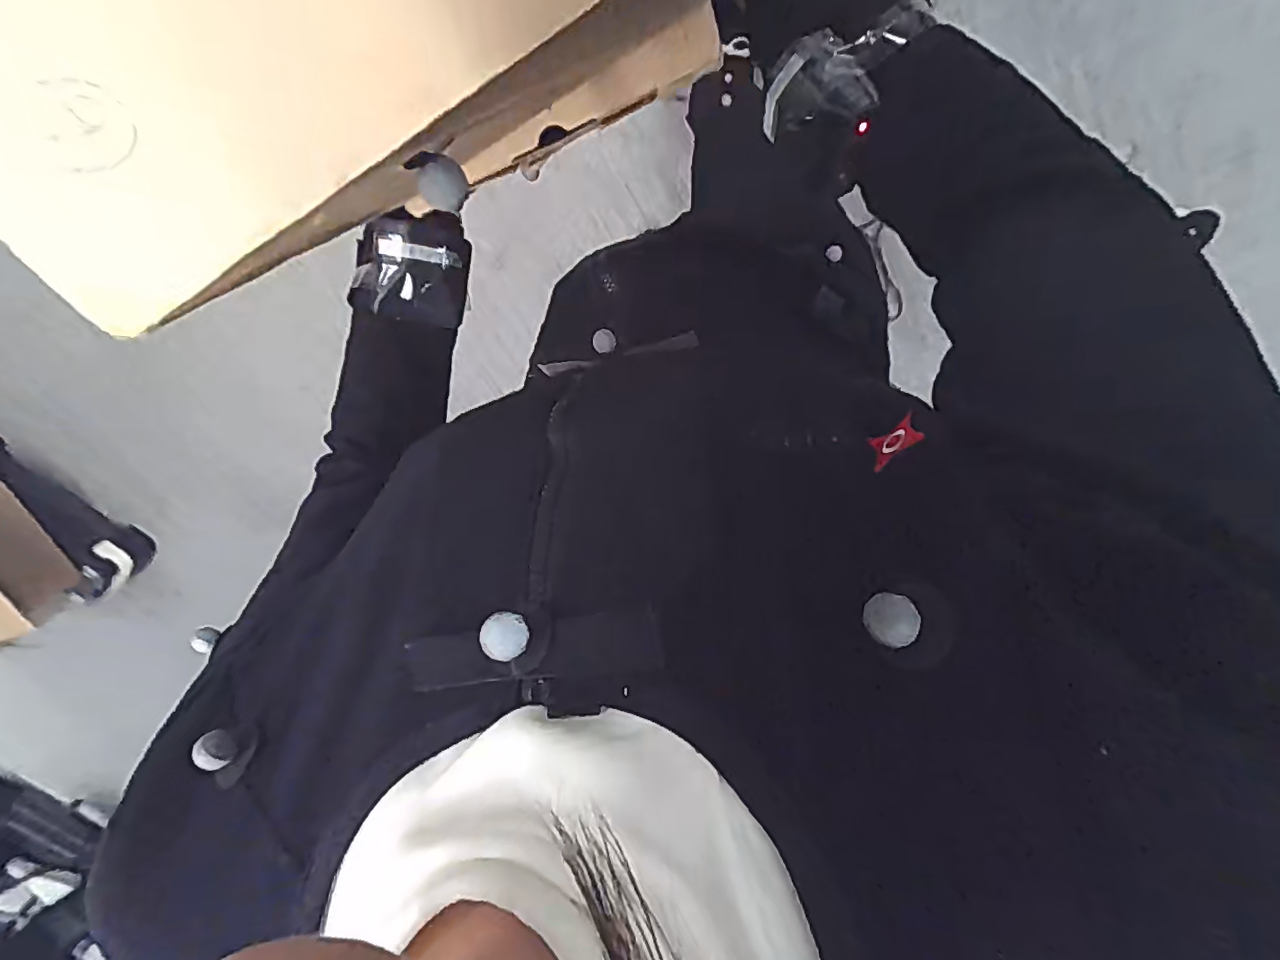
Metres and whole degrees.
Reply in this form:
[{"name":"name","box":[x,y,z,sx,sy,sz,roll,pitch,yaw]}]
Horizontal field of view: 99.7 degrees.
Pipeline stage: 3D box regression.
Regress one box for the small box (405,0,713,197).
[{"name":"small box","box":[-0.071,-0.281,0.270,0.168,0.176,0.179,-19,125,17]}]

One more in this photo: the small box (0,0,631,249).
[{"name":"small box","box":[-0.092,-0.192,0.136,0.179,0.176,0.168,-24,120,19]}]
